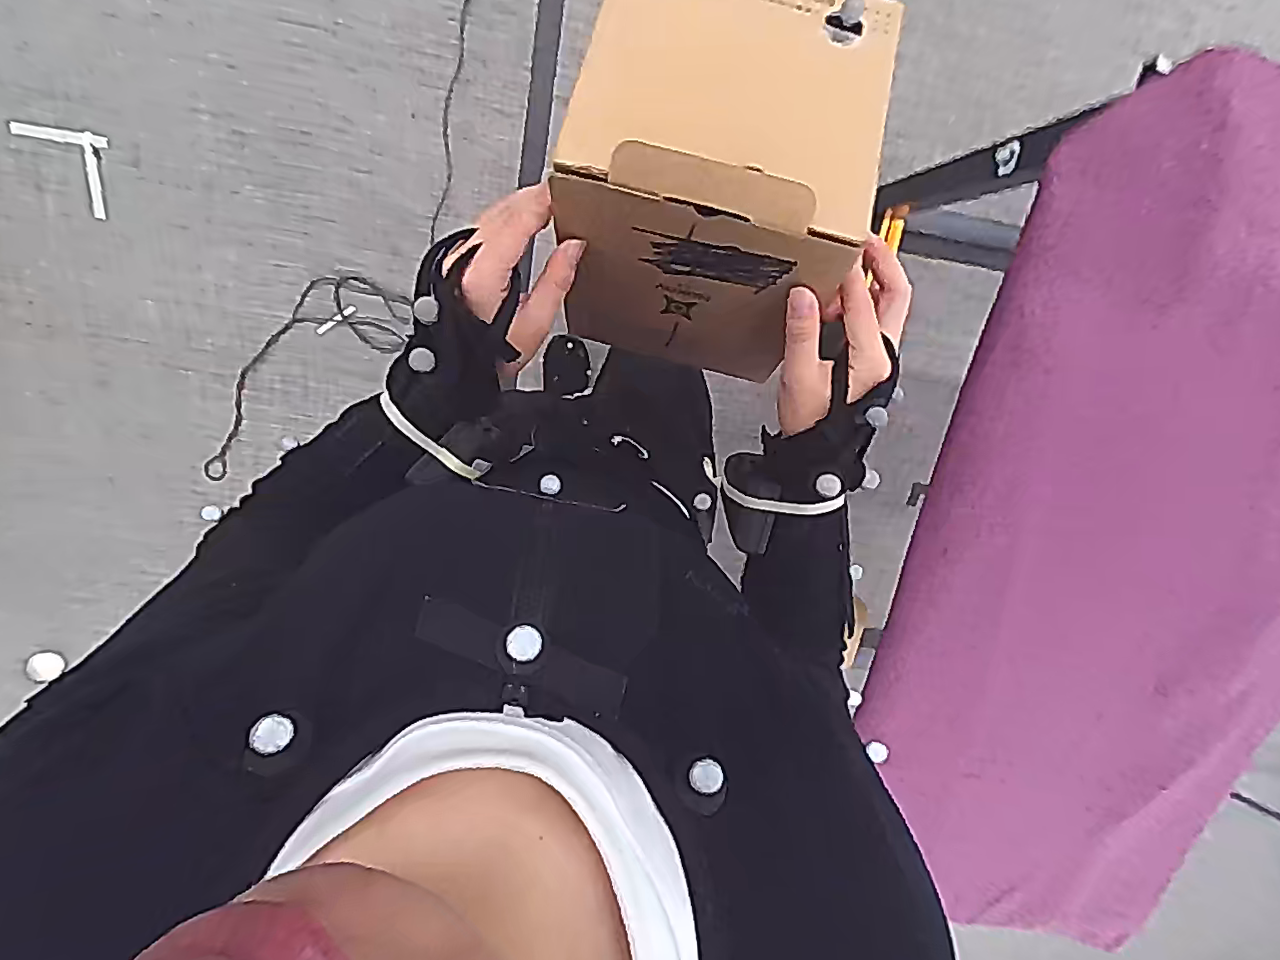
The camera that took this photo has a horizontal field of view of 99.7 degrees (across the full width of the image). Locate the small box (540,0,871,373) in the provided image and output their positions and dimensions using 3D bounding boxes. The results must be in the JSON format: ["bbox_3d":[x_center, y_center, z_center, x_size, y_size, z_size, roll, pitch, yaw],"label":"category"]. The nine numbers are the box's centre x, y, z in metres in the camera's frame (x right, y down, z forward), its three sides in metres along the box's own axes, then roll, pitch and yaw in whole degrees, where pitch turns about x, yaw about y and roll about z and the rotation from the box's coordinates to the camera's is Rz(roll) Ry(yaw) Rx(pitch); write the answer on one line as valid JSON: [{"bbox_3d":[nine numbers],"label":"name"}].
[{"bbox_3d":[0.039,-0.201,0.369,0.168,0.179,0.176,14,76,-1],"label":"small box"}]
